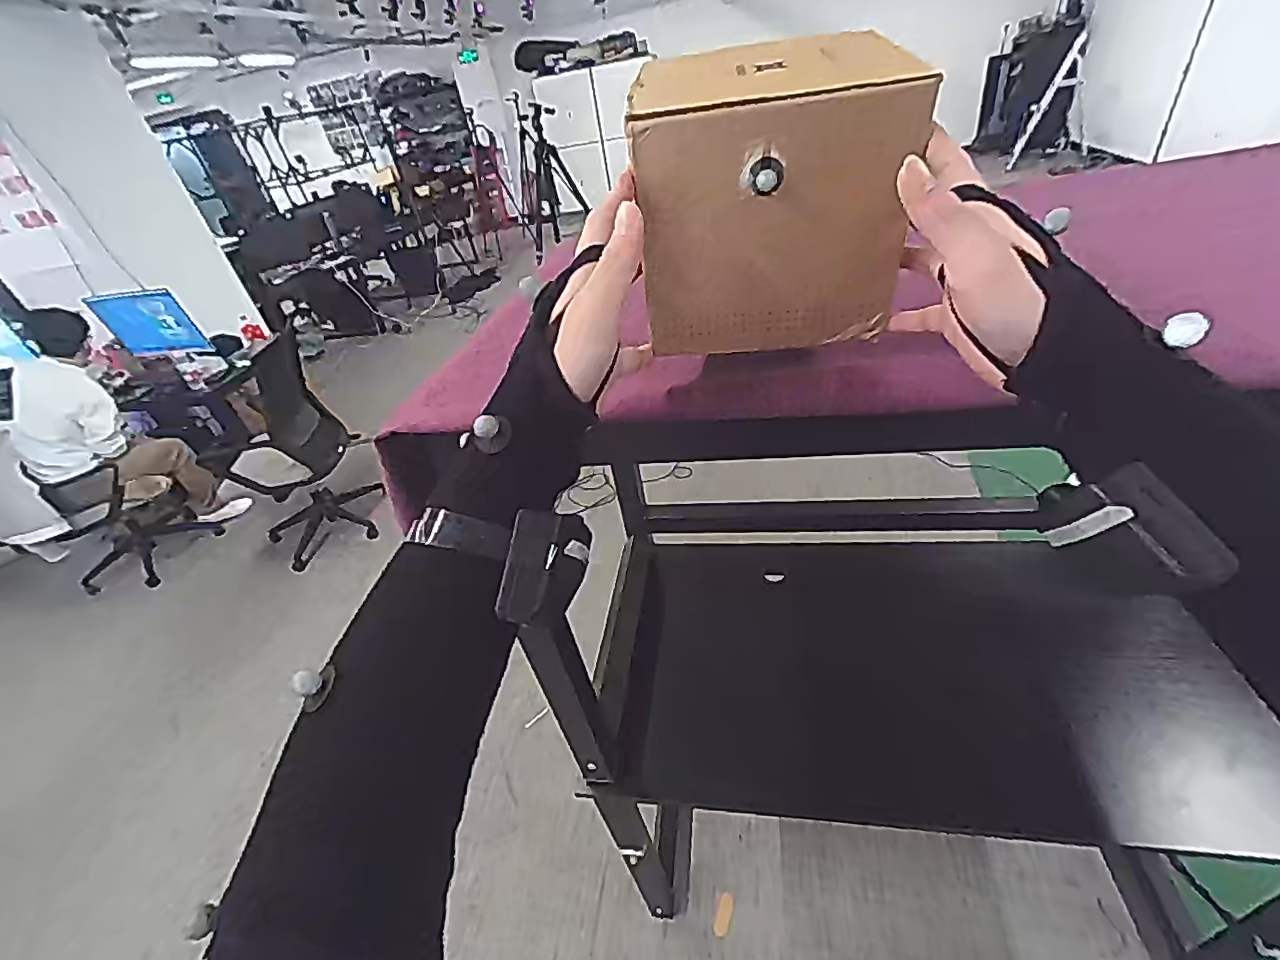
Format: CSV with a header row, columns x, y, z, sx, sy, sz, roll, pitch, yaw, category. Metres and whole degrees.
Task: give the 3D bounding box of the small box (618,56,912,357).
x,y,z,sx,sy,sz,roll,pitch,yaw,category
0.089,-0.211,0.430,0.179,0.176,0.168,-2,44,9,small box
